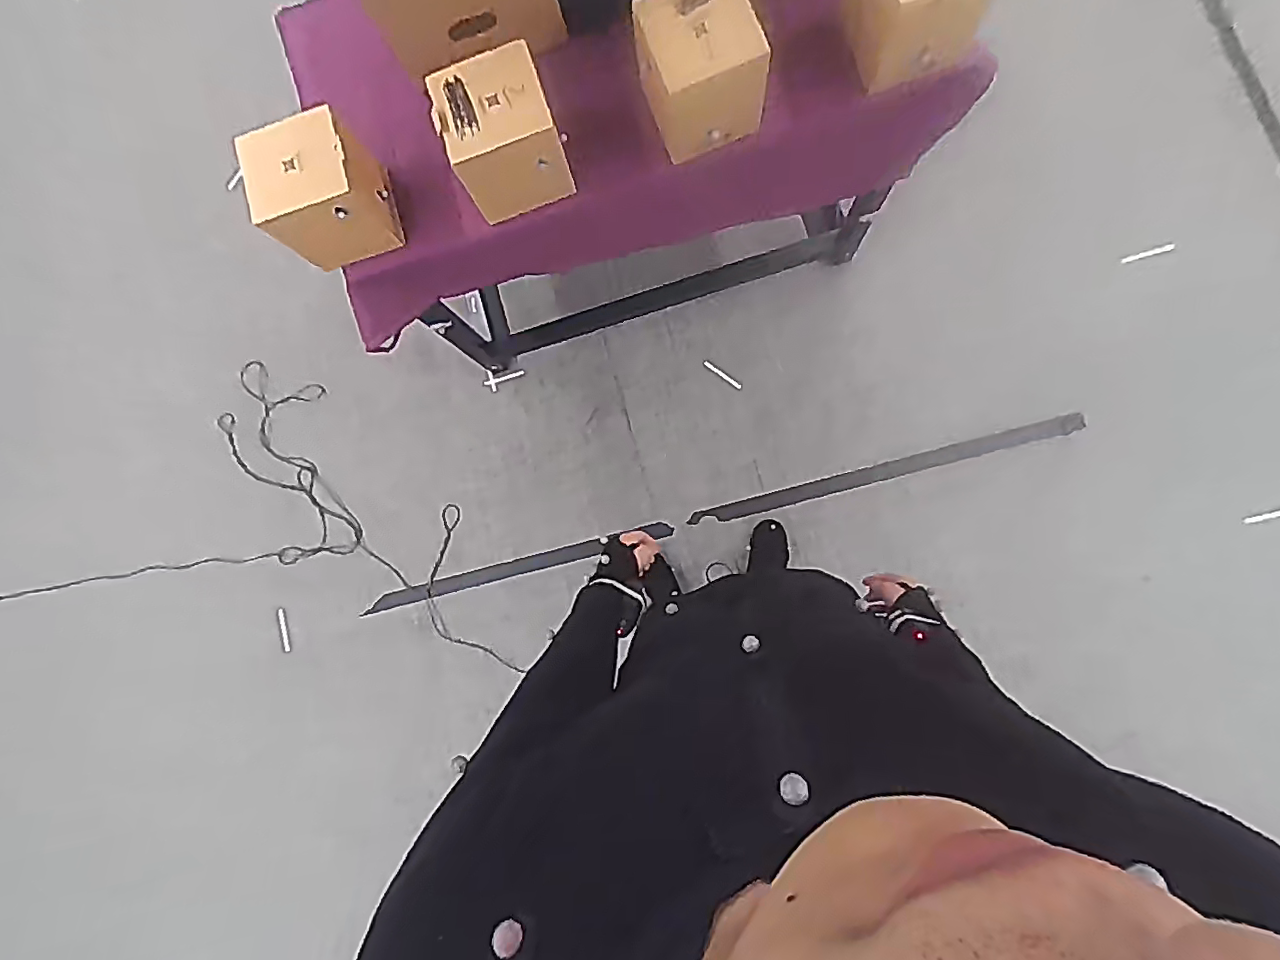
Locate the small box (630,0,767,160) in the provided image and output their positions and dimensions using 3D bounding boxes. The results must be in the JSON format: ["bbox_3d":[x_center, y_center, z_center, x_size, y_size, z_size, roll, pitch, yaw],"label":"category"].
[{"bbox_3d":[0.095,-0.687,0.902,0.168,0.176,0.179,-21,84,5],"label":"small box"}]

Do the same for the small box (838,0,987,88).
[{"bbox_3d":[0.437,-0.793,0.871,0.168,0.176,0.179,-16,83,6],"label":"small box"}]

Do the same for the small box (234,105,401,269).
[{"bbox_3d":[-0.562,-0.504,0.960,0.179,0.176,0.168,-17,83,3],"label":"small box"}]
